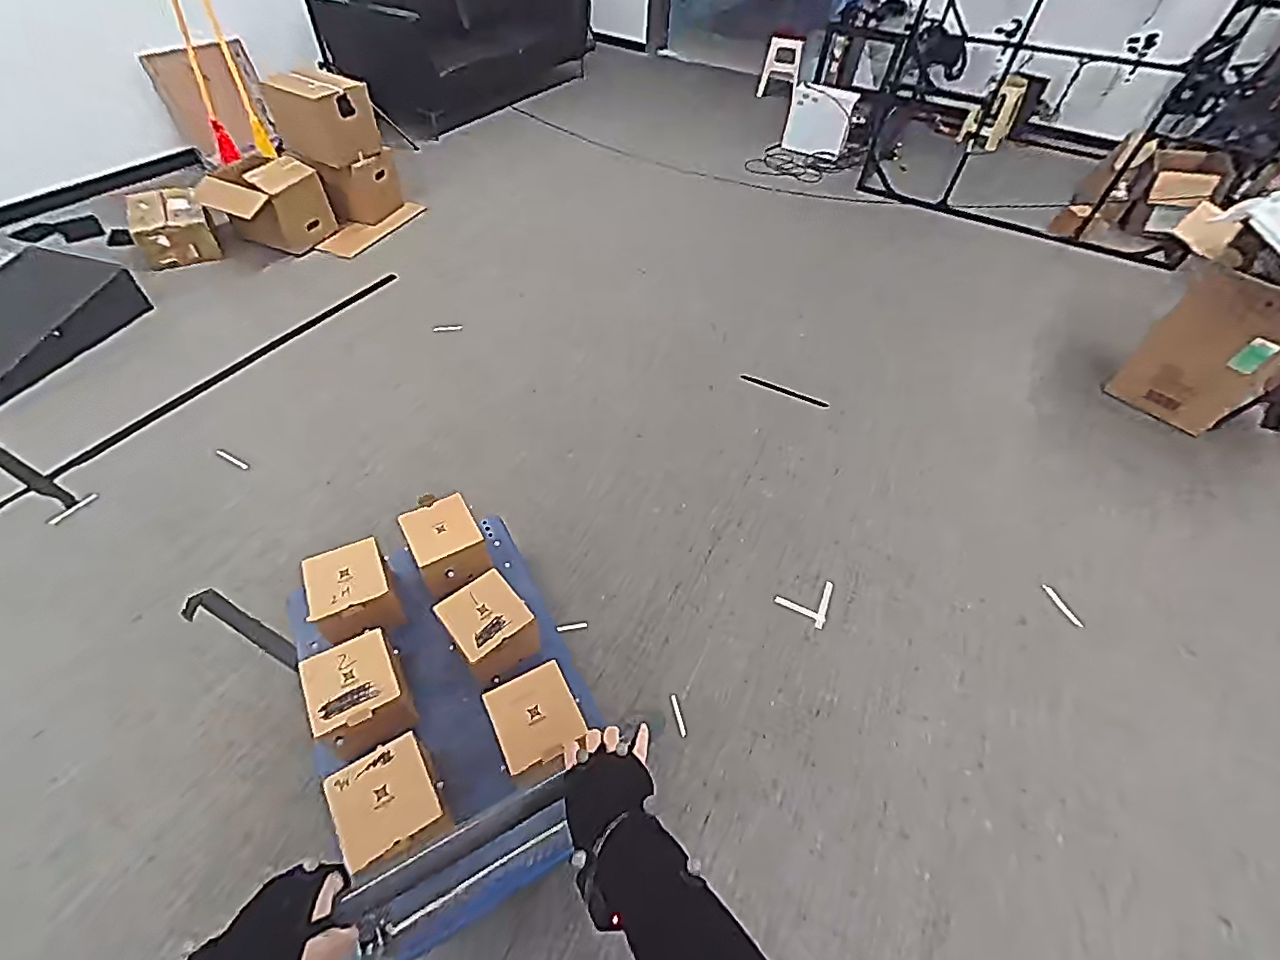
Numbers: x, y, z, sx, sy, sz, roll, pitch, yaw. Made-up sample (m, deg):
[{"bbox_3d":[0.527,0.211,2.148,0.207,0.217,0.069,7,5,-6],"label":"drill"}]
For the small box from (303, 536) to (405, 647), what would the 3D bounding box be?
[{"bbox_3d":[-0.693,0.273,1.321,0.168,0.176,0.179,-20,55,-21],"label":"small box"}]

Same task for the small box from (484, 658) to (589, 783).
[{"bbox_3d":[-0.219,0.523,1.163,0.168,0.176,0.179,-20,54,-23],"label":"small box"}]

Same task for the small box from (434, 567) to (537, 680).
[{"bbox_3d":[-0.360,0.350,1.292,0.168,0.176,0.179,-33,59,-29],"label":"small box"}]

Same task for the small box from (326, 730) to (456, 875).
[{"bbox_3d":[-0.472,0.625,1.044,0.168,0.176,0.179,-24,56,-25],"label":"small box"}]

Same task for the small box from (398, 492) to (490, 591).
[{"bbox_3d":[-0.512,0.170,1.430,0.168,0.176,0.179,-24,56,-24],"label":"small box"}]
